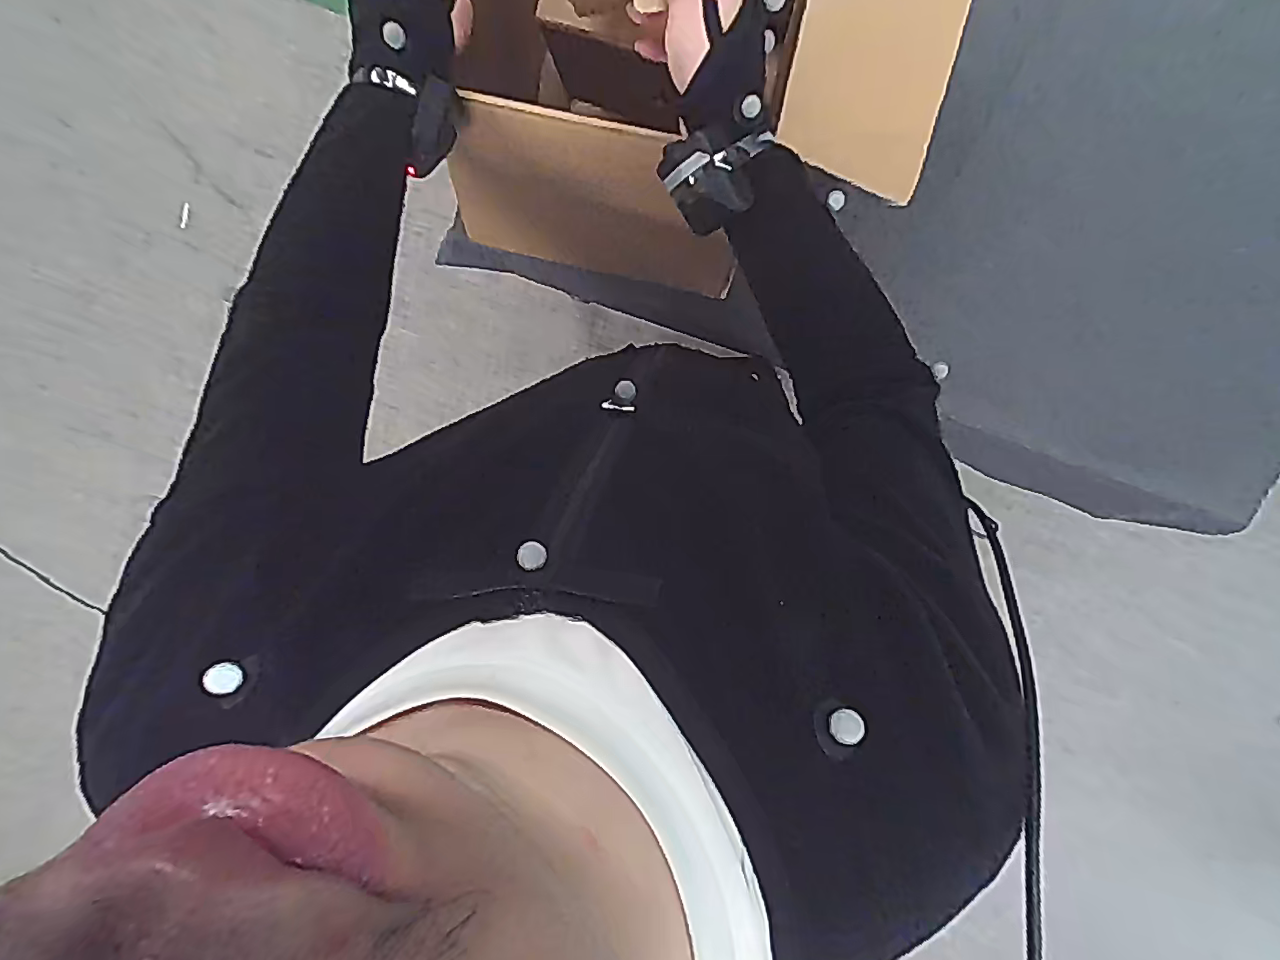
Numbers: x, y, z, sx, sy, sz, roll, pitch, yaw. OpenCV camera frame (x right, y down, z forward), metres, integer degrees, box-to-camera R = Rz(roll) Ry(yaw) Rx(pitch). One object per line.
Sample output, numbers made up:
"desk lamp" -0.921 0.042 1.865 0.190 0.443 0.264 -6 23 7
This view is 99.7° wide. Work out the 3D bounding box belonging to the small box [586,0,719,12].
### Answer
"small box" 0.018 -0.474 0.395 0.168 0.176 0.179 -3 119 6
